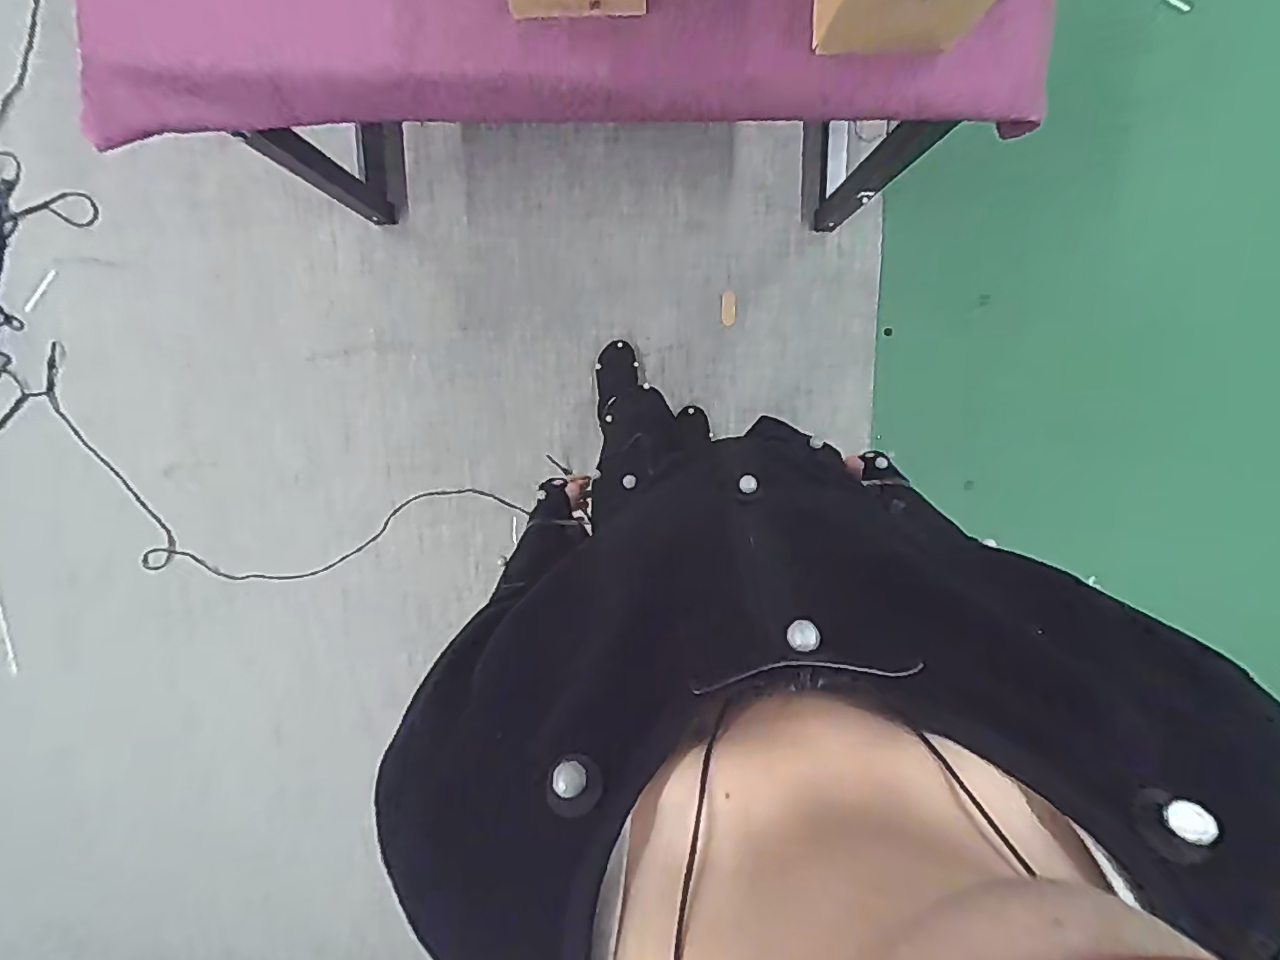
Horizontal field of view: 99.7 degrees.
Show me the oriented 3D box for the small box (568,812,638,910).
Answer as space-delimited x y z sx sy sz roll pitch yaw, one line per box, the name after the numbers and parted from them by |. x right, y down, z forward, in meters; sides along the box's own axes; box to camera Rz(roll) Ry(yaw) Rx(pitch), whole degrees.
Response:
-0.100 1.092 1.559 0.179 0.176 0.168 -6 97 4 | small box

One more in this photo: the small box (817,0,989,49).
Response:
0.304 -0.606 0.582 0.179 0.176 0.168 -2 100 3 | small box

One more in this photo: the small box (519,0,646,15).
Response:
-0.074 -0.648 0.583 0.168 0.176 0.179 0 98 1 | small box
